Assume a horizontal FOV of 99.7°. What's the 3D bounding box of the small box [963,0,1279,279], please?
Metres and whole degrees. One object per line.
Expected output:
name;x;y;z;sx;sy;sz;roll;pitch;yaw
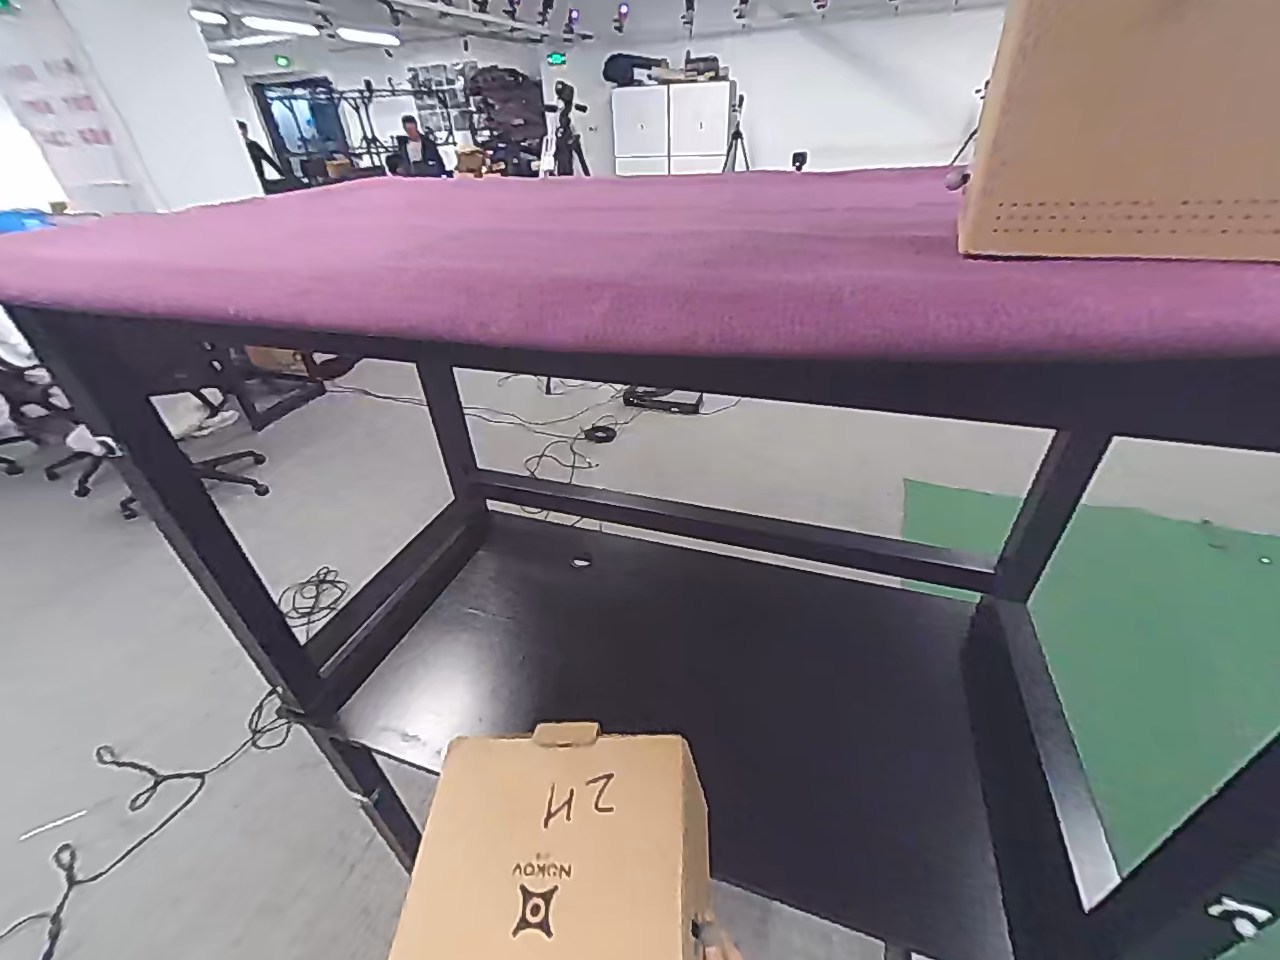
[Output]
small box;0.293;-0.214;0.297;0.179;0.176;0.168;12;36;22

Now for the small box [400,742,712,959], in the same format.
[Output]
small box;-0.039;0.300;0.368;0.168;0.176;0.179;-4;44;9
